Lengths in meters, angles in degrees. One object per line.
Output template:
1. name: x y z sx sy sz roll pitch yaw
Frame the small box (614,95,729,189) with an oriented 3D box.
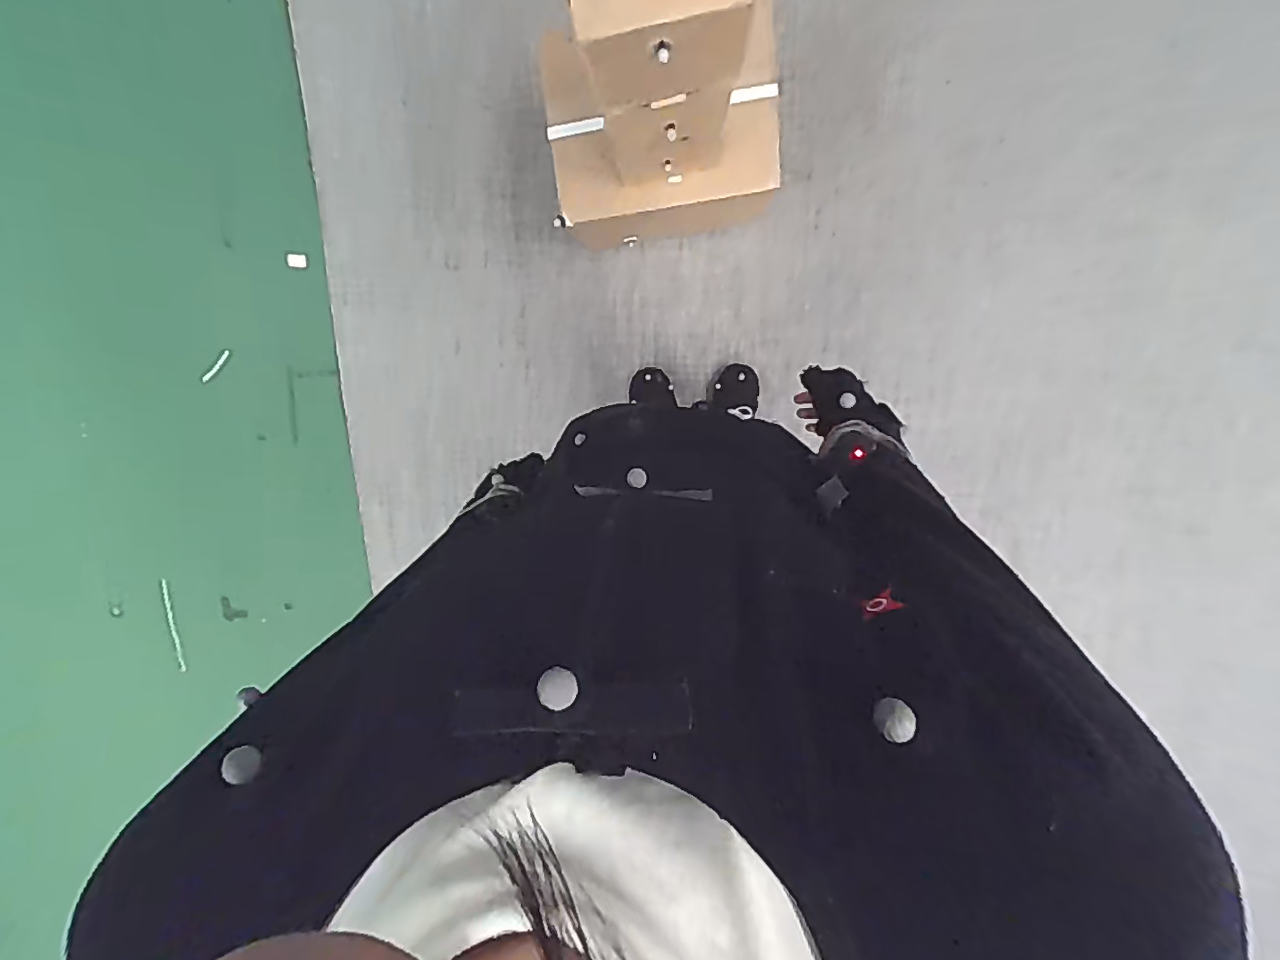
1. small box: 0.035 -0.596 0.874 0.179 0.176 0.168 -12 104 6

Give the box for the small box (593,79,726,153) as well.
1. small box: 0.018 -0.560 0.716 0.168 0.176 0.179 -10 104 7

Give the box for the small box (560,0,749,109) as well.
1. small box: 0.010 -0.518 0.558 0.179 0.176 0.168 -9 105 6
